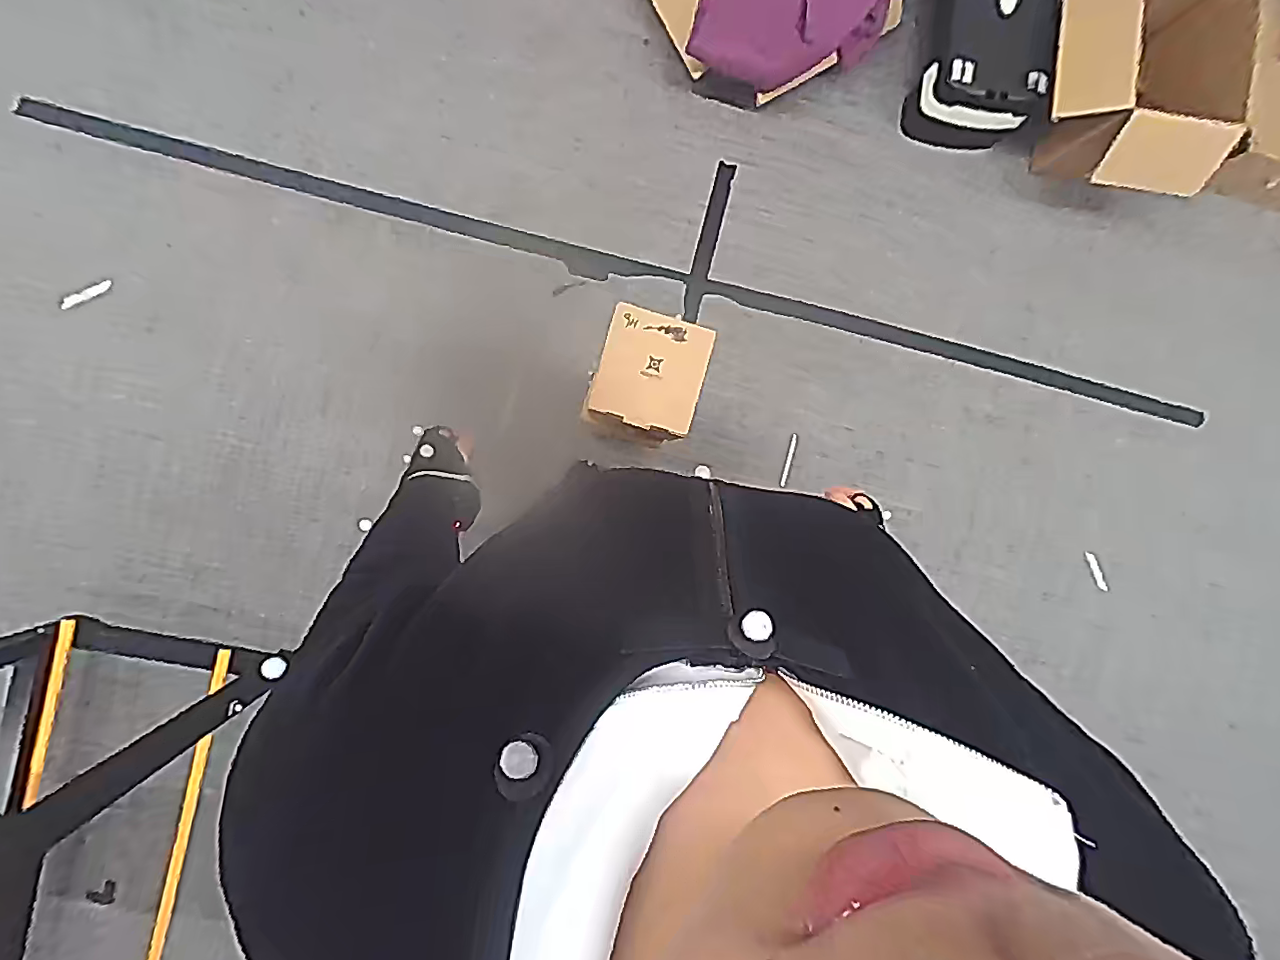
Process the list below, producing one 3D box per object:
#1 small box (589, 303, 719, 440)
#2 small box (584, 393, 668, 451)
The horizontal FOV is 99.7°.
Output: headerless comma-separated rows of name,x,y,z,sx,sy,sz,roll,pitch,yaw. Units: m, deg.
small box,0.018,-0.171,0.918,0.168,0.176,0.179,16,91,-4
small box,-0.007,-0.166,1.081,0.168,0.176,0.179,19,92,-4
